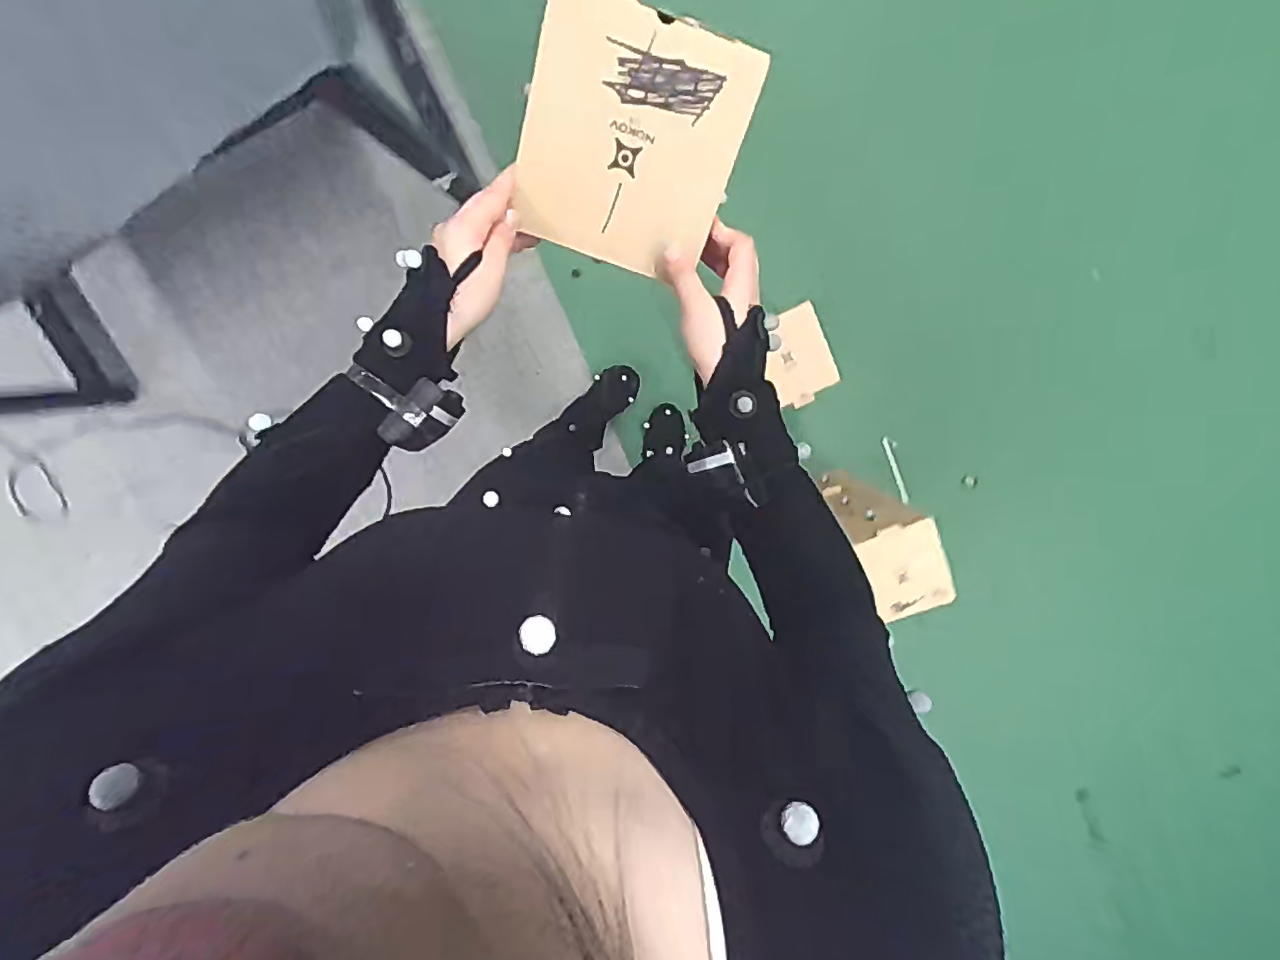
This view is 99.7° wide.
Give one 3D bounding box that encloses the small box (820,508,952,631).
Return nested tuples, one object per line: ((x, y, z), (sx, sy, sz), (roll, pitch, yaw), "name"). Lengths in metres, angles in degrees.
((0.480, 0.166, 1.079), (0.168, 0.176, 0.179), (-20, 101, 5), "small box")

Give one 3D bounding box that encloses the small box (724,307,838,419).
((0.294, -0.250, 1.158), (0.168, 0.176, 0.179), (-25, 100, 6), "small box")

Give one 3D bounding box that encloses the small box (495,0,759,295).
((-0.017, -0.291, 0.485), (0.168, 0.176, 0.179), (15, 117, -9), "small box")

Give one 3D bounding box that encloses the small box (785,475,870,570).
((0.492, 0.105, 1.401), (0.168, 0.176, 0.179), (-18, 101, 6), "small box")
